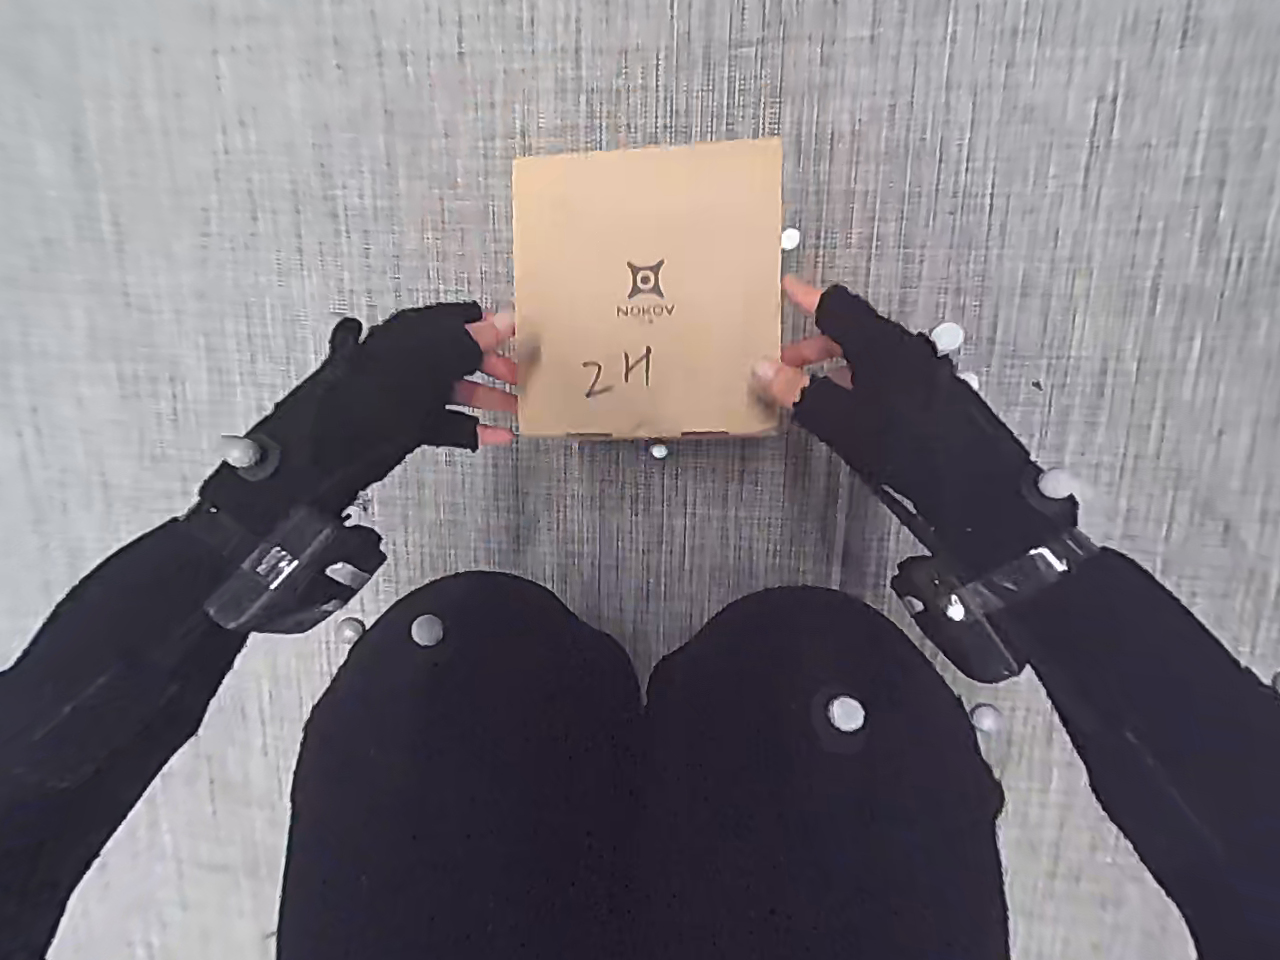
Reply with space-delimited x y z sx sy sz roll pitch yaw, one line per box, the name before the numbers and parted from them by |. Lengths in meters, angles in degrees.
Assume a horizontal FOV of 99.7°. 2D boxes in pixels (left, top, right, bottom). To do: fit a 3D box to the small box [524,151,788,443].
small box | 0.016 -0.117 0.416 0.168 0.176 0.179 0 95 7
